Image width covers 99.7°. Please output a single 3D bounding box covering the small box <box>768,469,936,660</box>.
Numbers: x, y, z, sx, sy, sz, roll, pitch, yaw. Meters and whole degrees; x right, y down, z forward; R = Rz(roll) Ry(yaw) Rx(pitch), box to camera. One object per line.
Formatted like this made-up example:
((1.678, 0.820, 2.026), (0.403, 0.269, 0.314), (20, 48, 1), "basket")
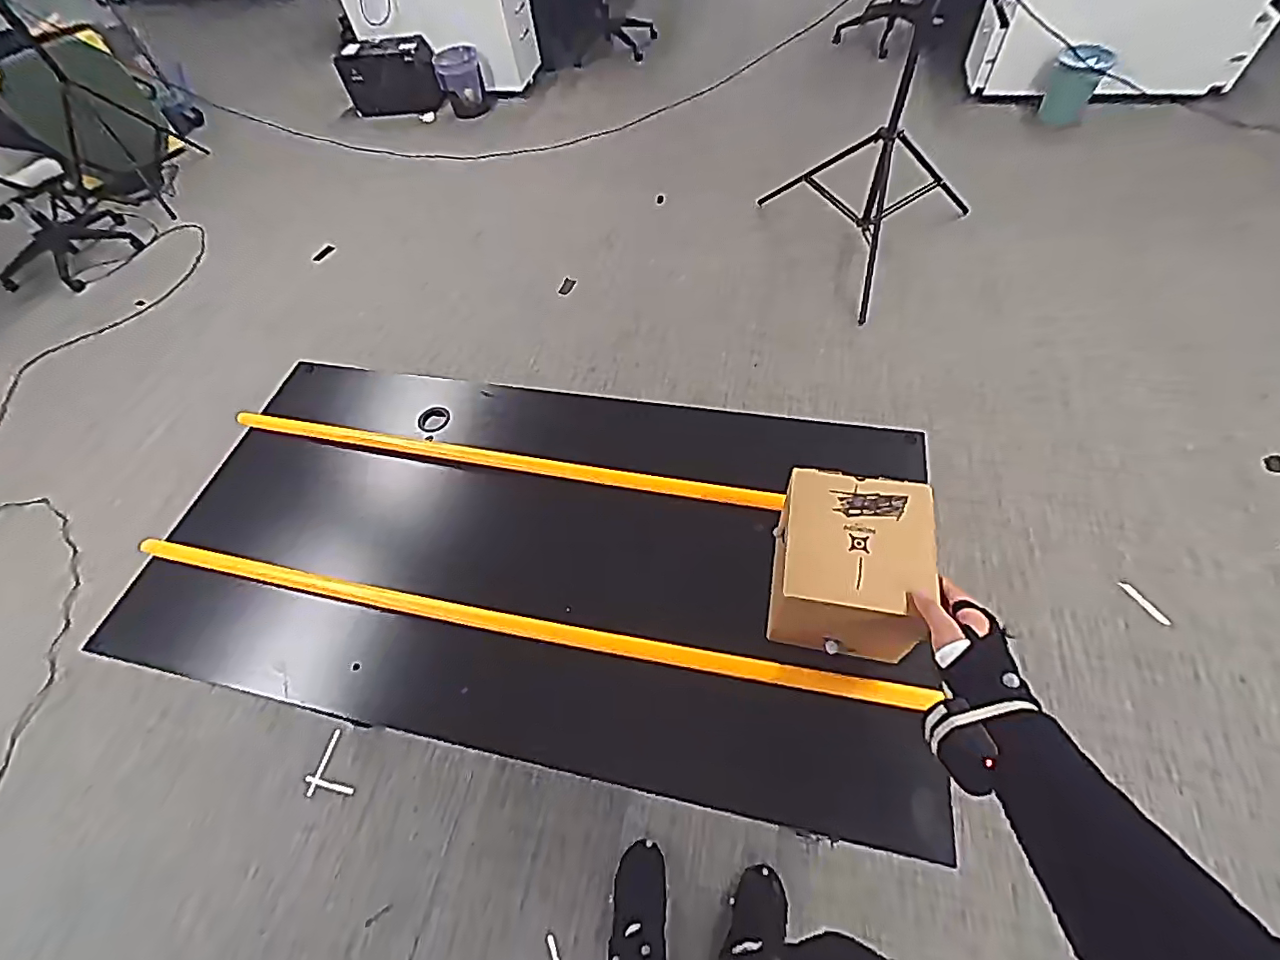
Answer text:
((0.262, 0.112, 0.701), (0.168, 0.176, 0.179), (8, 58, 11), "small box")
